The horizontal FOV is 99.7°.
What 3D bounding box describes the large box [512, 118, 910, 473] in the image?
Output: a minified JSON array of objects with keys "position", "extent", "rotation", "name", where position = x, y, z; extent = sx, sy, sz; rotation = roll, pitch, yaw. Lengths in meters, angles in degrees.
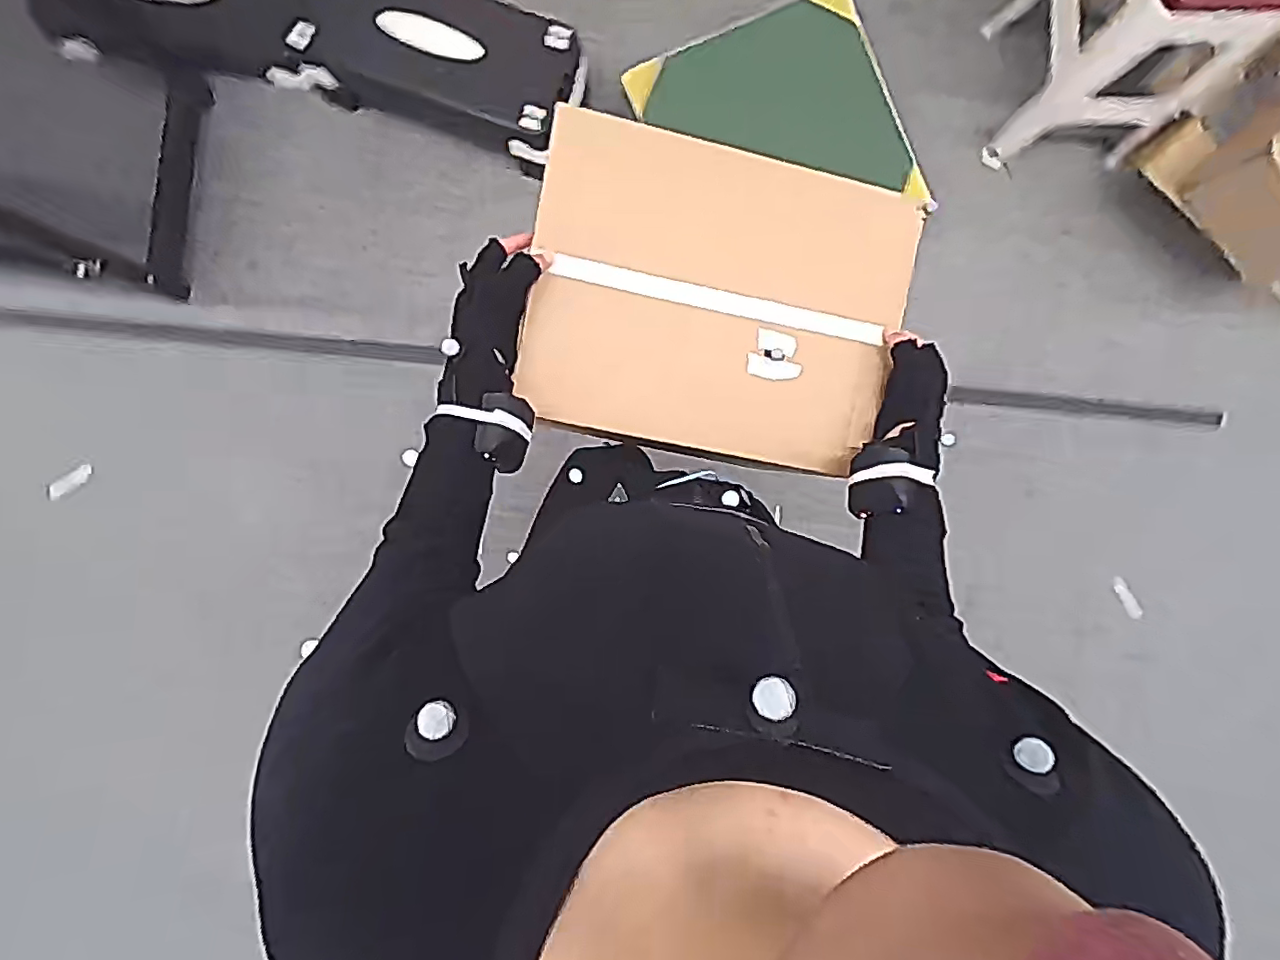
[{"position":[0.065,-0.201,0.735],"extent":[0.408,0.320,0.320],"rotation":[11,93,-8],"name":"large box"}]
